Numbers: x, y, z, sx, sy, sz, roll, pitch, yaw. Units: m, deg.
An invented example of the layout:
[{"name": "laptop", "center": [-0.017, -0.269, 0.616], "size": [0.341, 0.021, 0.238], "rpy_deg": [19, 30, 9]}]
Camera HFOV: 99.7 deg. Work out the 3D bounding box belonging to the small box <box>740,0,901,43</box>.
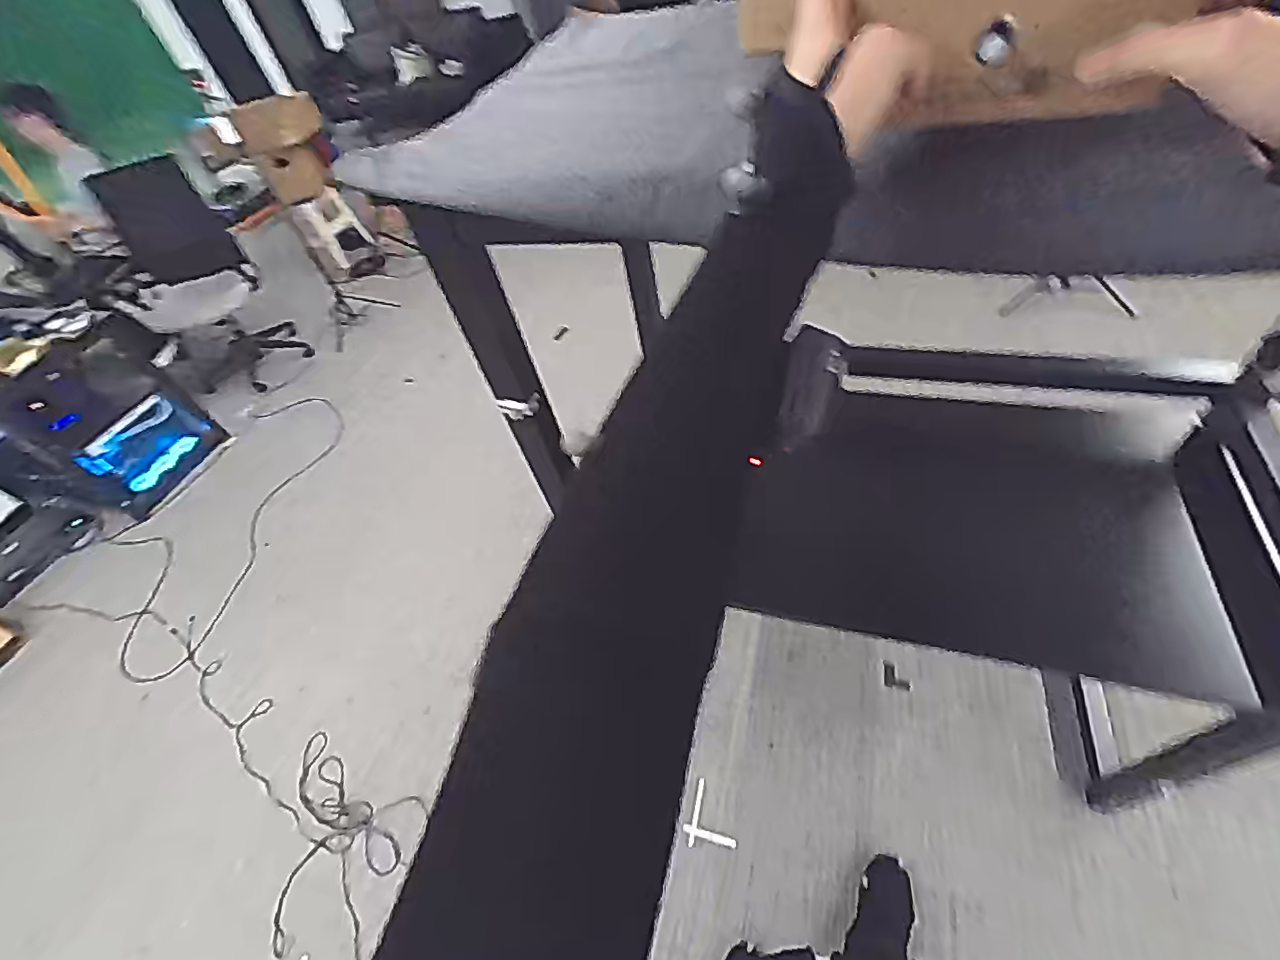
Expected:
[{"name": "small box", "center": [0.204, -0.599, 0.583], "size": [0.168, 0.176, 0.179], "rpy_deg": [12, 54, 21]}]
